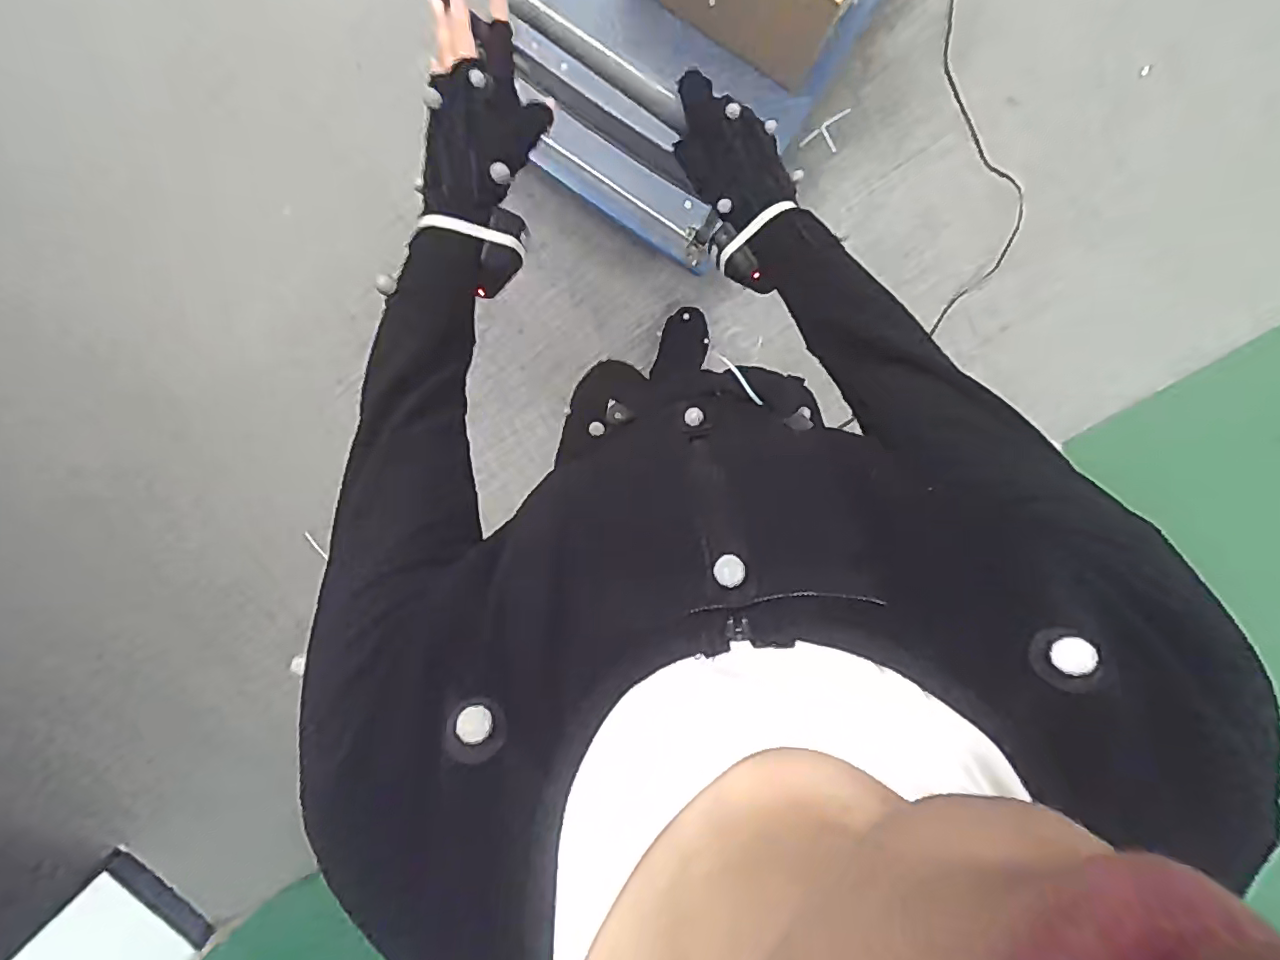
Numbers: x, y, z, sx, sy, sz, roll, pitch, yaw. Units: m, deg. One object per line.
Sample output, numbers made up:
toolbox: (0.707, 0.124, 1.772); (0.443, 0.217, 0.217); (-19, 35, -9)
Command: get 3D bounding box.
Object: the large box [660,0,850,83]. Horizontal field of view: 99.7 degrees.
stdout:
large box: (0.209, -0.965, 0.885); (0.408, 0.320, 0.320); (30, 105, -4)
